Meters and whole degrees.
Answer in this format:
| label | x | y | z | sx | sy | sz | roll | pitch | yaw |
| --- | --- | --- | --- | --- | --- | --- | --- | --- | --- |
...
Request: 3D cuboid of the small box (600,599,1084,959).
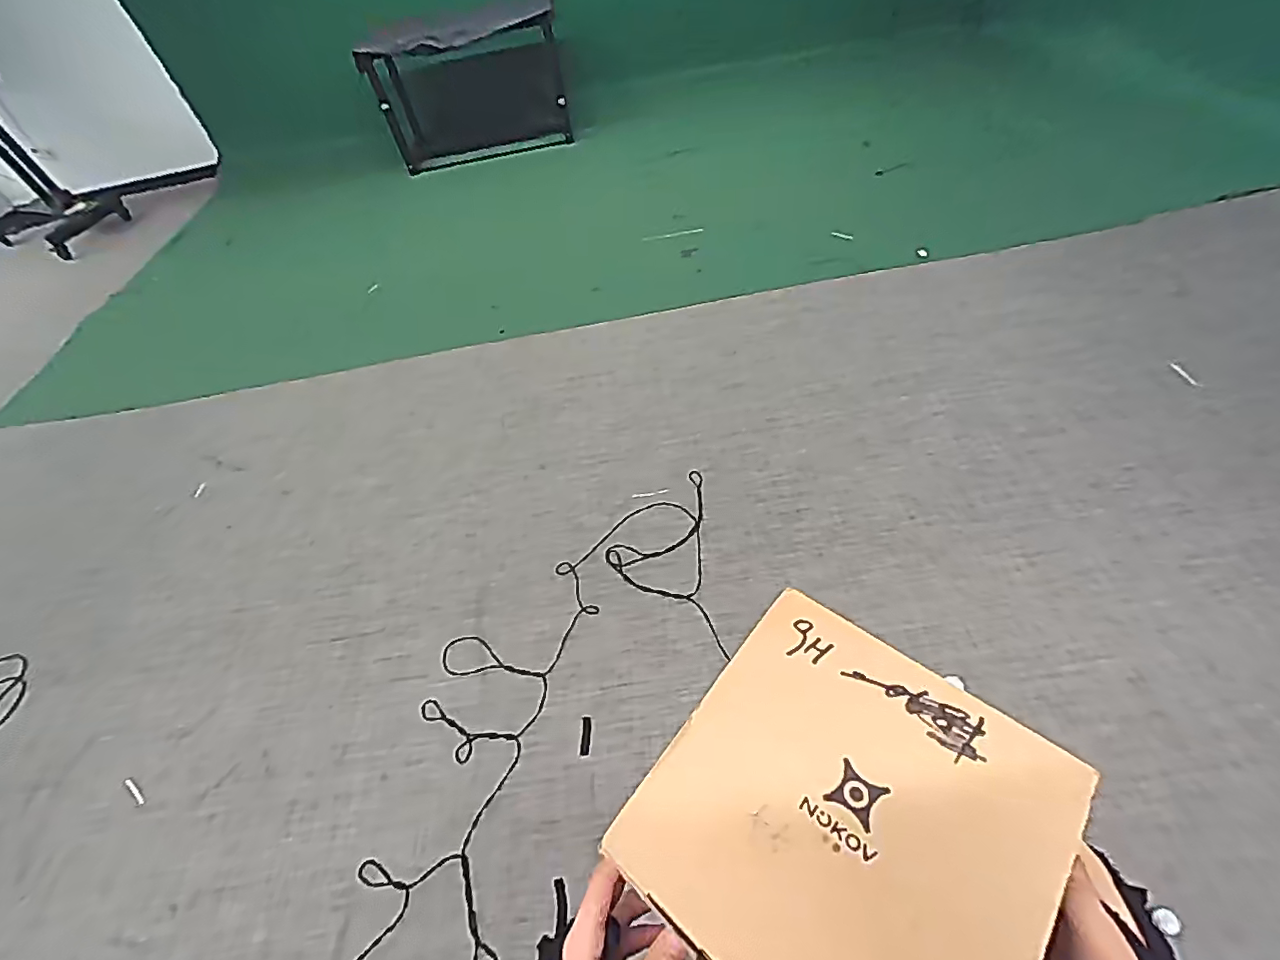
| label | x | y | z | sx | sy | sz | roll | pitch | yaw |
| --- | --- | --- | --- | --- | --- | --- | --- | --- | --- |
| small box | 0.106 | 0.213 | 0.320 | 0.168 | 0.176 | 0.179 | 30 | 61 | 29 |
